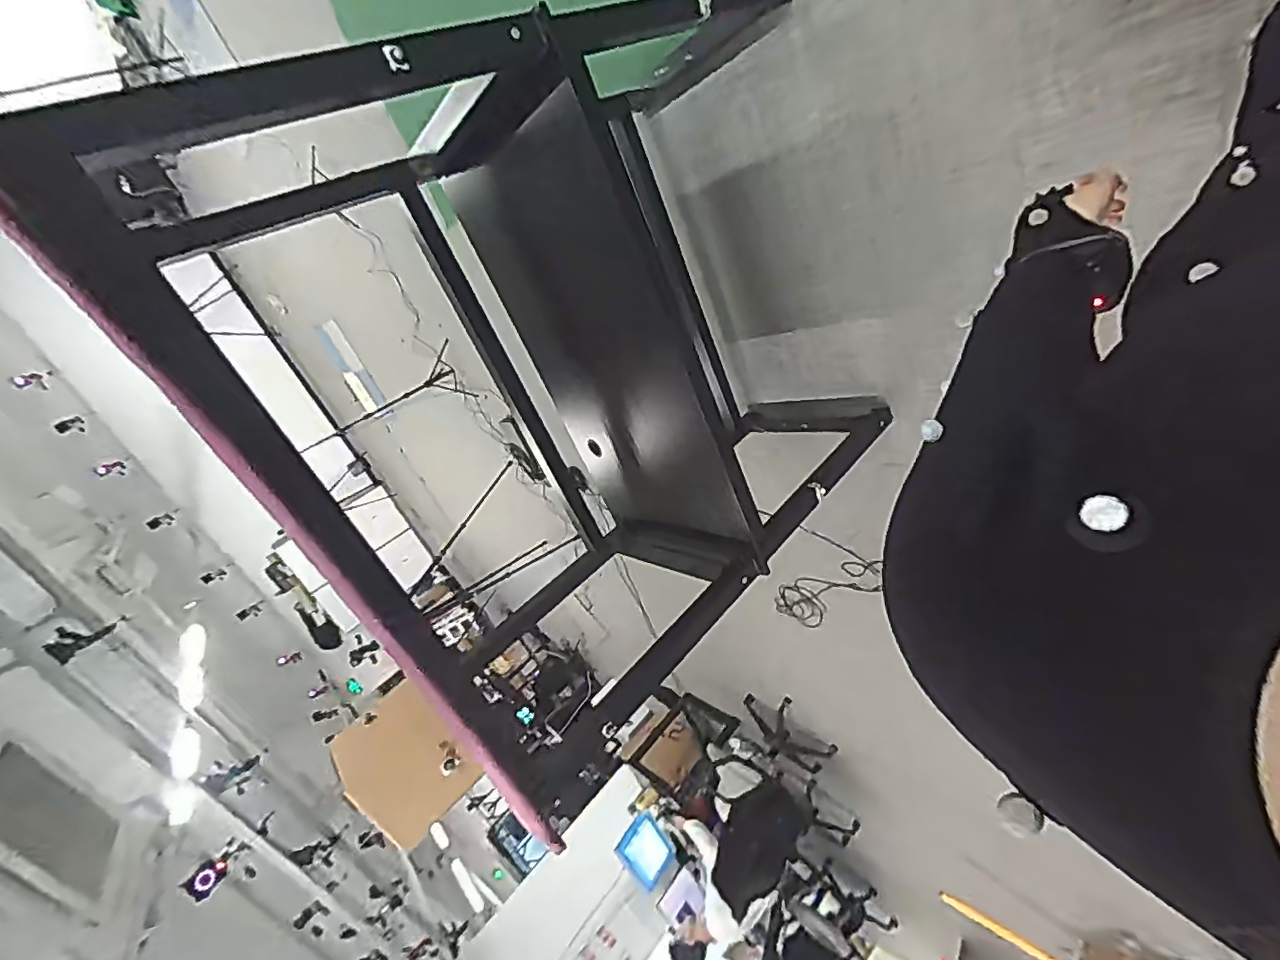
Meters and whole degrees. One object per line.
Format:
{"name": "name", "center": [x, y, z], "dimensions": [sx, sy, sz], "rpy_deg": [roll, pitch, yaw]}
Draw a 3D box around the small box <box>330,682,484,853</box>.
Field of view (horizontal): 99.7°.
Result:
{"name": "small box", "center": [-0.403, 0.486, 0.945], "dimensions": [0.179, 0.176, 0.168], "rpy_deg": [1, 126, 53]}
